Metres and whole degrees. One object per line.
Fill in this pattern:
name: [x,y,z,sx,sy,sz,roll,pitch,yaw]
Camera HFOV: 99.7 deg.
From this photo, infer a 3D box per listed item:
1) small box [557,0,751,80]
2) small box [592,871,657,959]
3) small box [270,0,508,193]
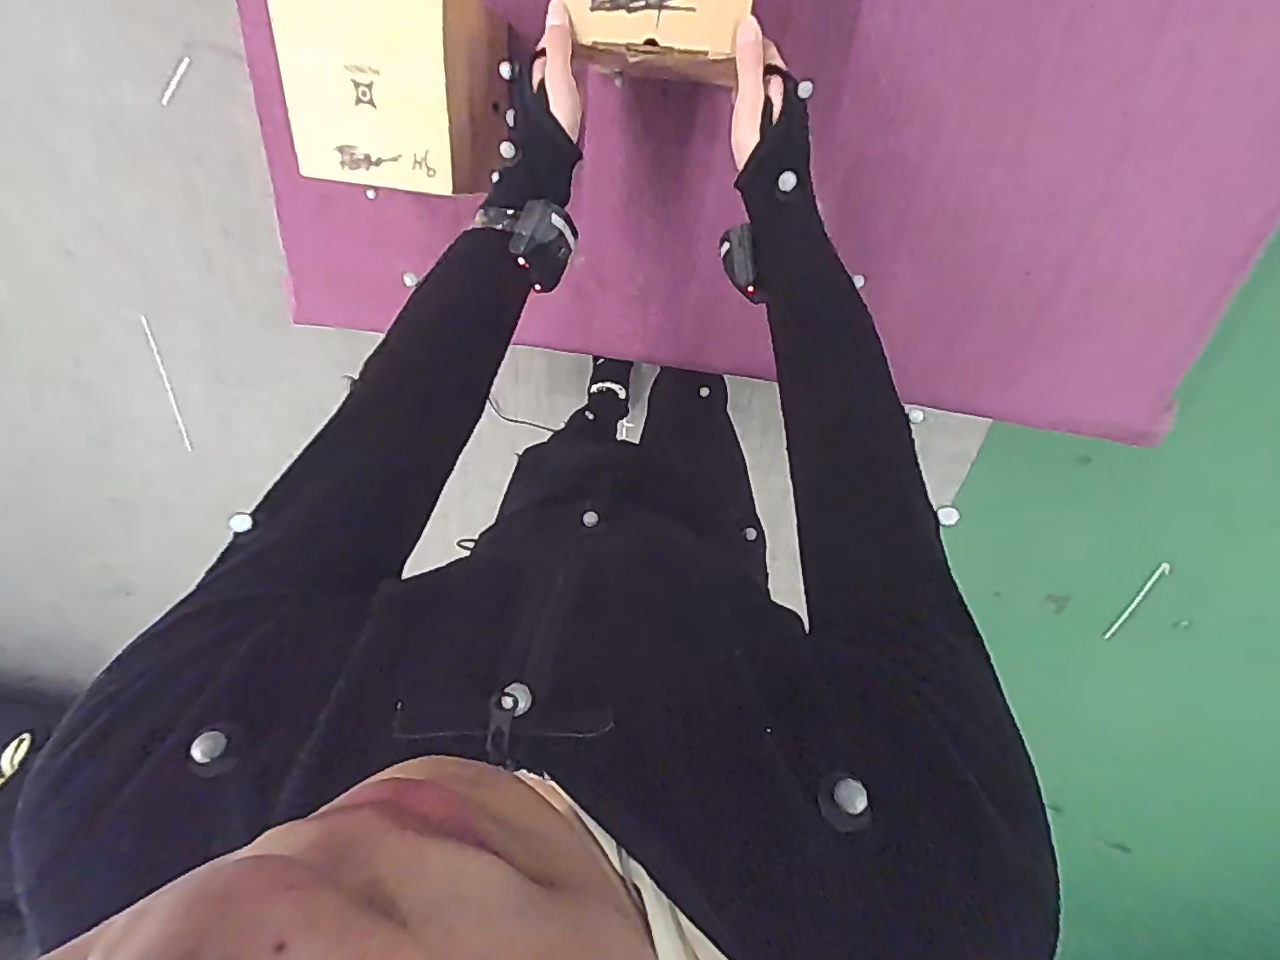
small box: [0.026,-0.491,0.498,0.168,0.176,0.179,8,119,4]
small box: [-0.045,1.381,1.707,0.168,0.176,0.179,12,120,0]
small box: [-0.249,-0.416,0.577,0.168,0.176,0.179,10,119,4]
